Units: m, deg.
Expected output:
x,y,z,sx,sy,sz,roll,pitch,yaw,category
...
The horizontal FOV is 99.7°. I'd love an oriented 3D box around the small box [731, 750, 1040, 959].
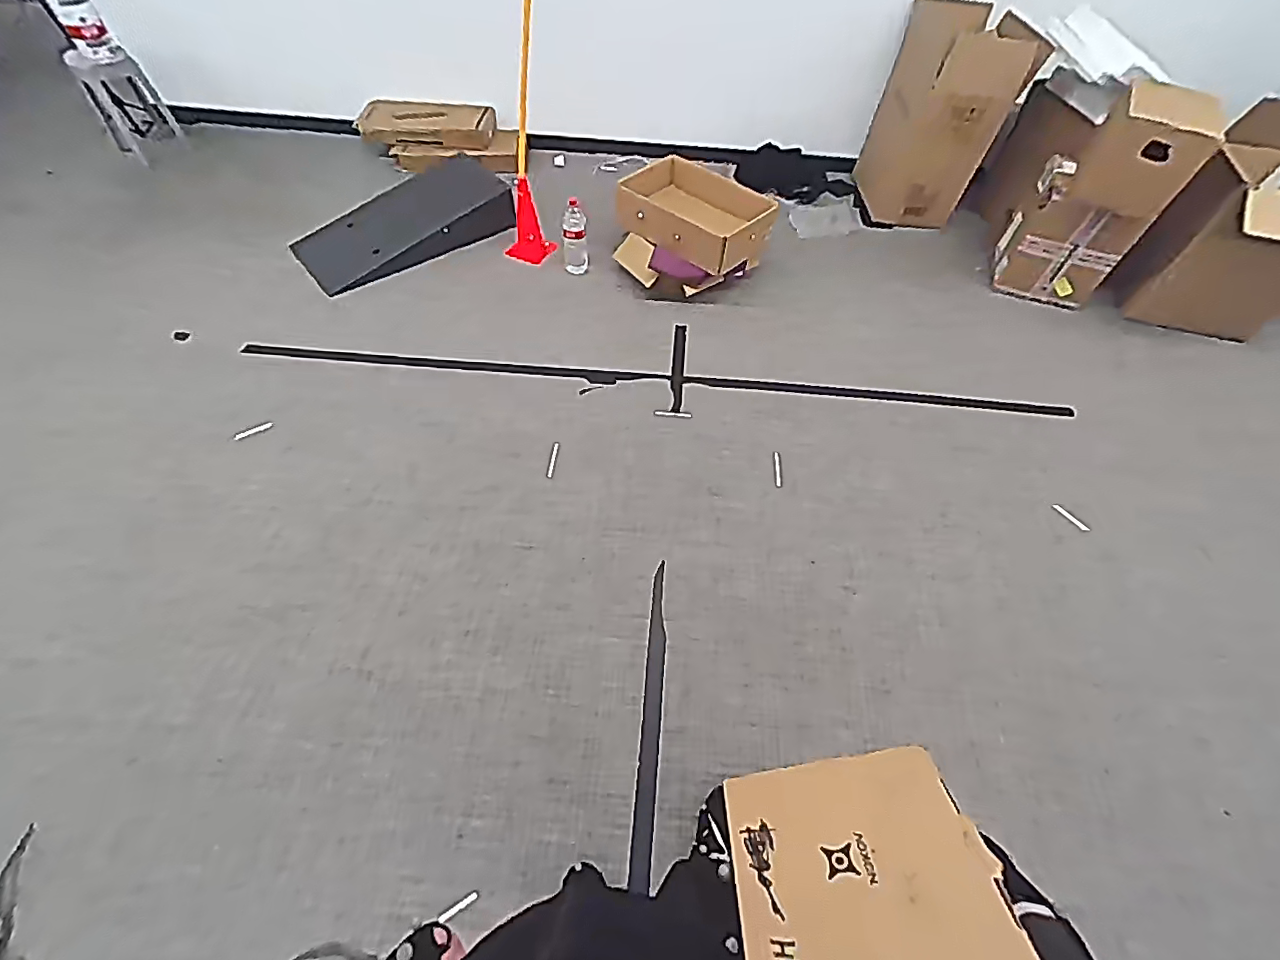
x,y,z,sx,sy,sz,roll,pitch,yaw,category
0.182,0.355,0.432,0.179,0.176,0.168,-14,21,7,small box
